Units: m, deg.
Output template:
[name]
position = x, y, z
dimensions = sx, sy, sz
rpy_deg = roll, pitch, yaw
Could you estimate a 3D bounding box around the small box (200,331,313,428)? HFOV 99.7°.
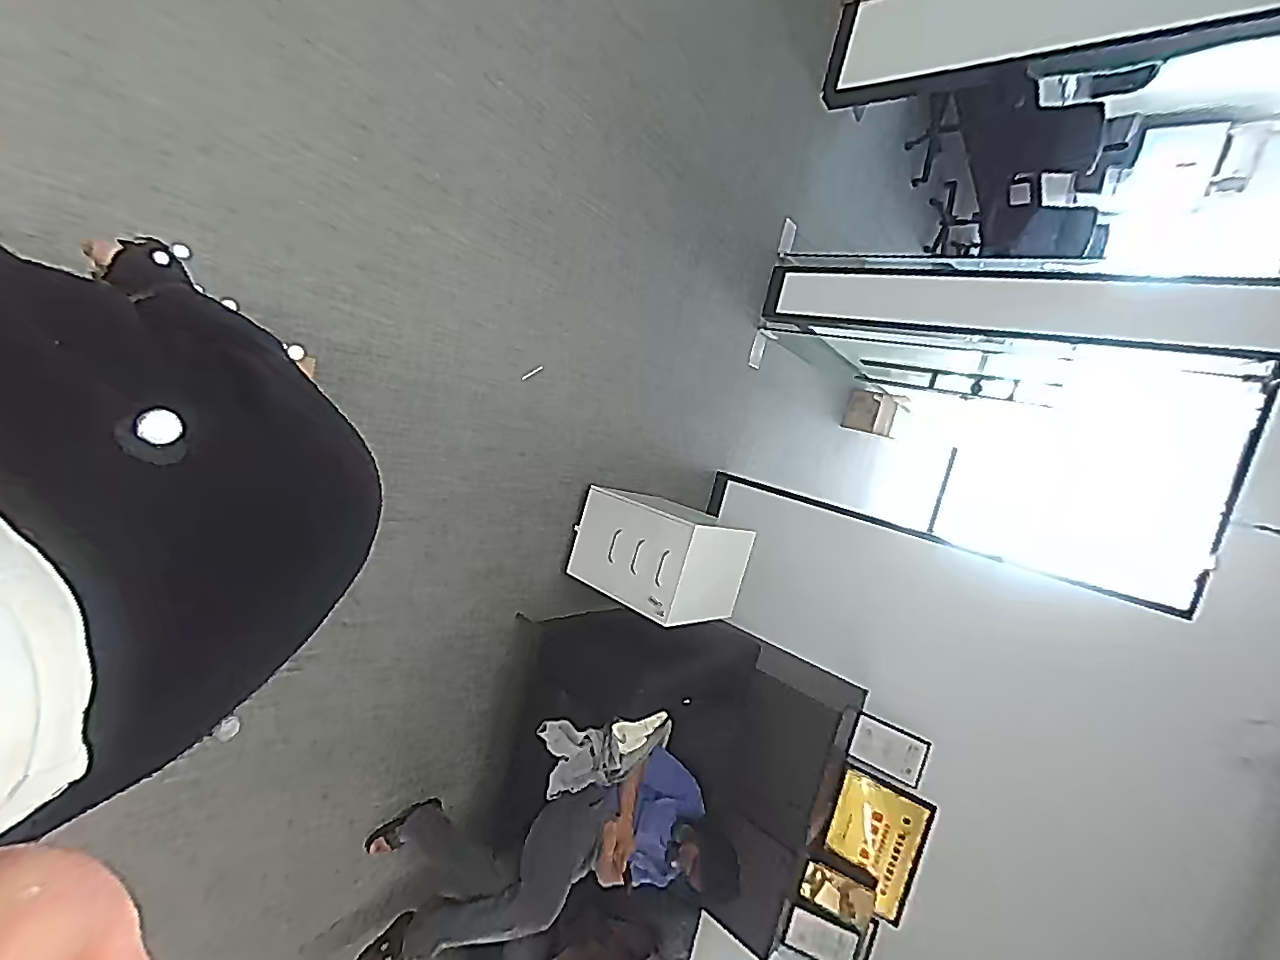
[small box]
position = -0.908, -0.237, 1.275
dimensions = 0.168, 0.176, 0.179
rpy_deg = 7, 100, -53
